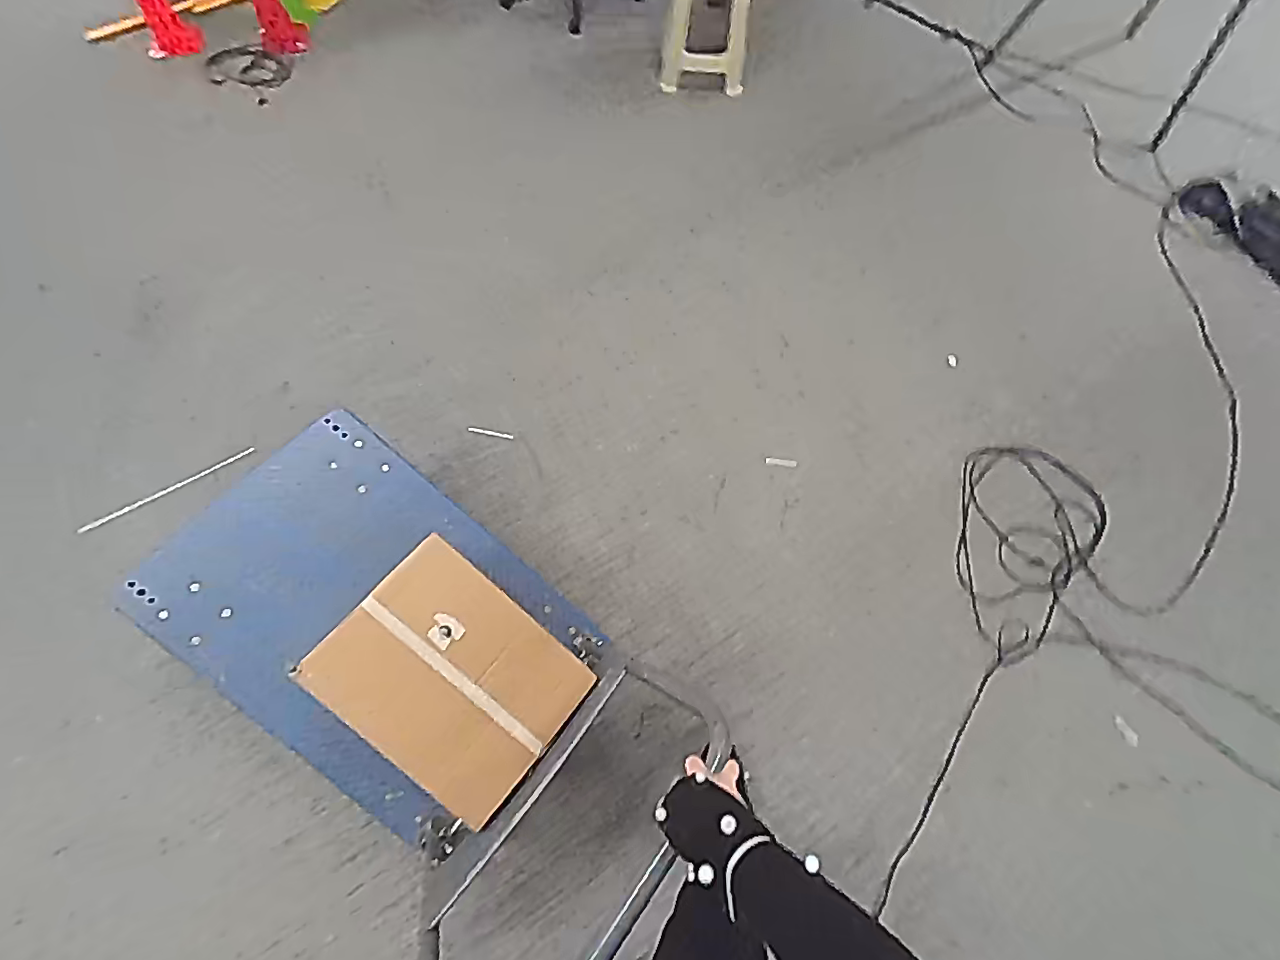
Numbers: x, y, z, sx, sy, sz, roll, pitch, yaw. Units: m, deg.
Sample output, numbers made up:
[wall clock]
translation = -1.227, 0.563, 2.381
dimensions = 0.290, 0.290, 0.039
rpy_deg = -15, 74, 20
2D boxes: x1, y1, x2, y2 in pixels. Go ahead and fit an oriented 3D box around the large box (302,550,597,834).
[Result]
[large box]
translation = -0.355, 0.394, 1.088
dimensions = 0.408, 0.320, 0.320
rpy_deg = 42, 70, -3
